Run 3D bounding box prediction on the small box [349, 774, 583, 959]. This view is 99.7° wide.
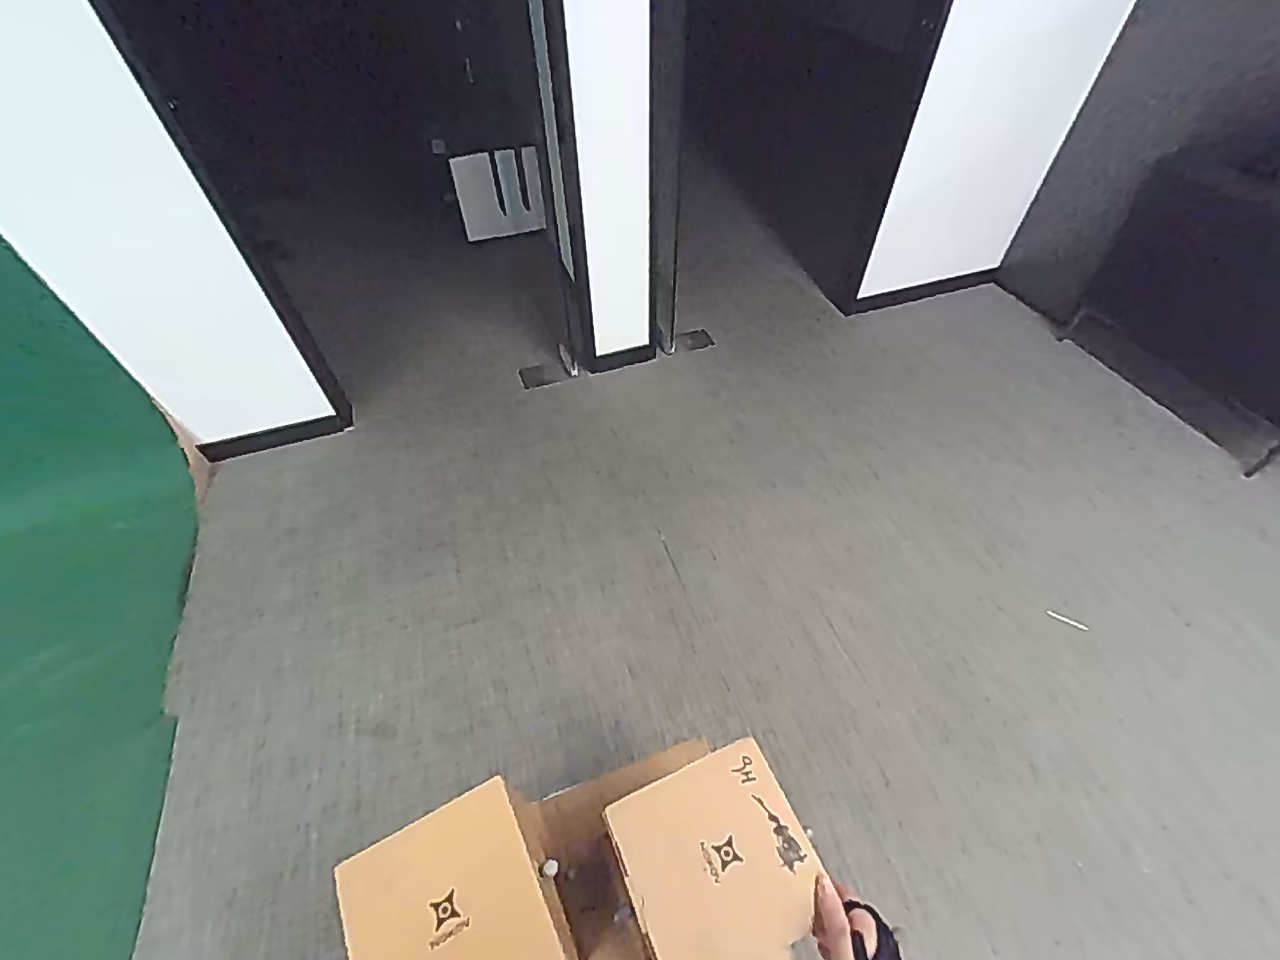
[{"bbox_3d":[-0.169,0.444,0.553,0.168,0.176,0.179,-22,55,-18],"label":"small box"}]
